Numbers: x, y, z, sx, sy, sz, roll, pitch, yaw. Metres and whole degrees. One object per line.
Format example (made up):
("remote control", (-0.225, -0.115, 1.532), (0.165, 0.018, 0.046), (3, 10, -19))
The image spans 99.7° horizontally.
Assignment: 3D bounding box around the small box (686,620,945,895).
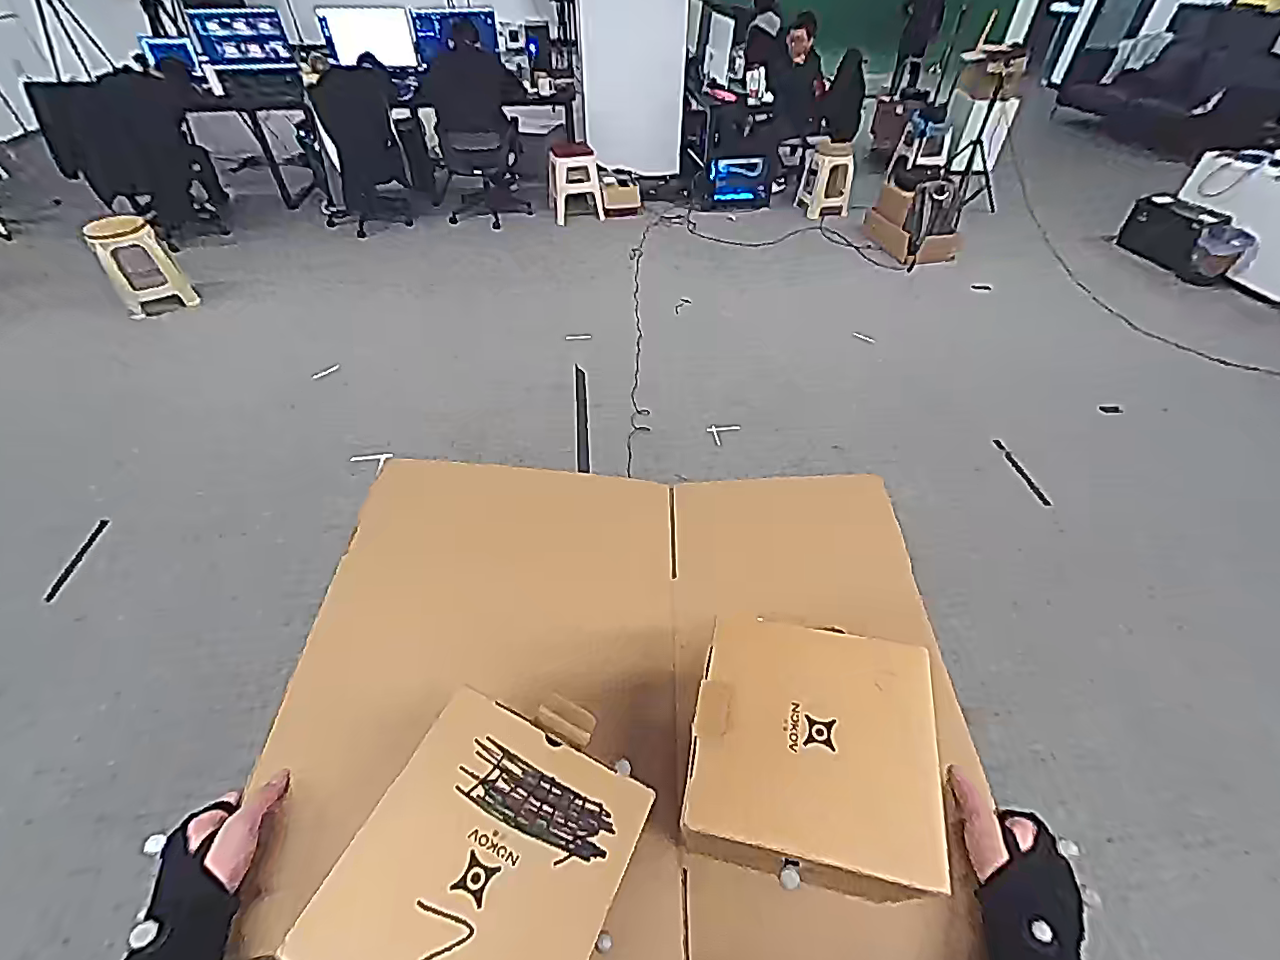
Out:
("small box", (0.144, 0.247, 0.483), (0.179, 0.176, 0.168), (6, 52, 14))
